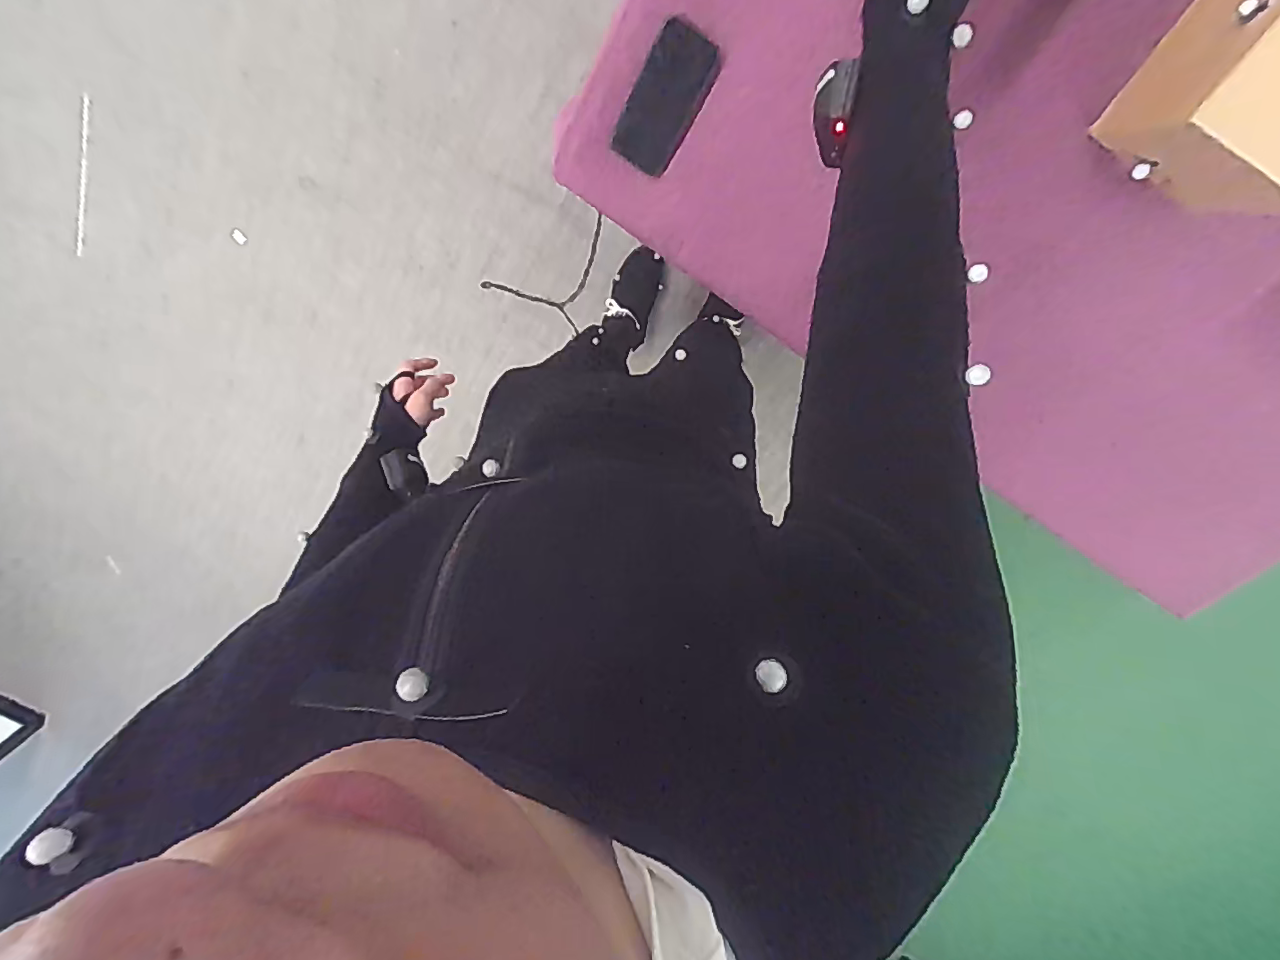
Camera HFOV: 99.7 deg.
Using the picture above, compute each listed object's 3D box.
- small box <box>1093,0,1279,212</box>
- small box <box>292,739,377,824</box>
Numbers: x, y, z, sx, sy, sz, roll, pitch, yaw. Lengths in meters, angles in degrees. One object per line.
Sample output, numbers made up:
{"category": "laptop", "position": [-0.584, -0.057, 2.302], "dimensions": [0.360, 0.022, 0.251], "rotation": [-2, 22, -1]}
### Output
{"category": "small box", "position": [0.604, -0.384, 0.514], "dimensions": [0.168, 0.176, 0.179], "rotation": [29, 119, -7]}
{"category": "small box", "position": [-1.055, 1.045, 1.880], "dimensions": [0.168, 0.176, 0.179], "rotation": [39, 115, -12]}
